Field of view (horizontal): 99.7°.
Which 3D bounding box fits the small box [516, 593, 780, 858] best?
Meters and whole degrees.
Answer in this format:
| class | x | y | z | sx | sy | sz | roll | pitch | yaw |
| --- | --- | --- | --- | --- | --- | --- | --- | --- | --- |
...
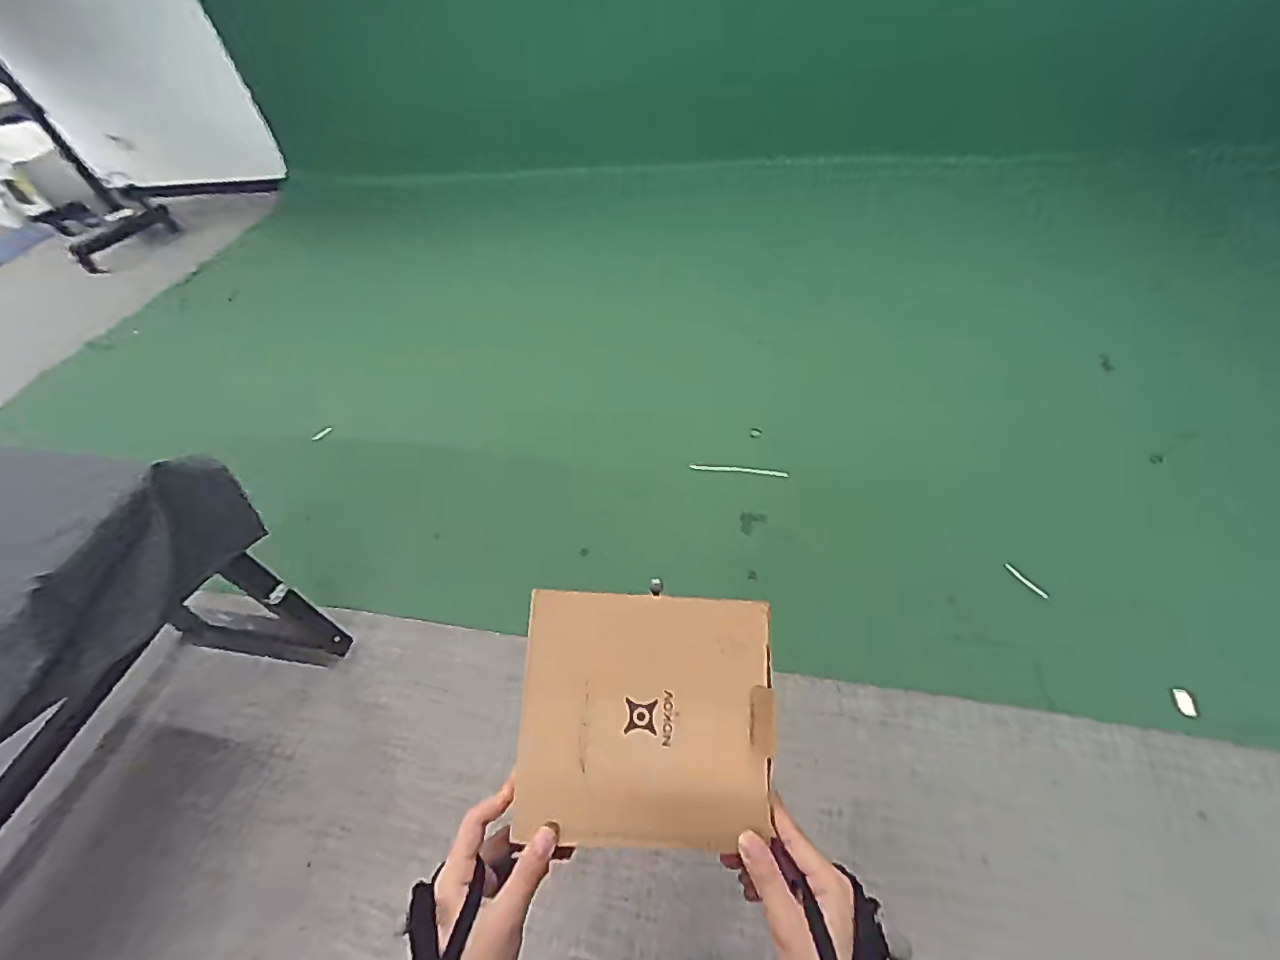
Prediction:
| class | x | y | z | sx | sy | sz | roll | pitch | yaw |
| --- | --- | --- | --- | --- | --- | --- | --- | --- | --- |
| small box | 0.008 | 0.184 | 0.450 | 0.179 | 0.176 | 0.168 | 2 | 75 | 1 |
